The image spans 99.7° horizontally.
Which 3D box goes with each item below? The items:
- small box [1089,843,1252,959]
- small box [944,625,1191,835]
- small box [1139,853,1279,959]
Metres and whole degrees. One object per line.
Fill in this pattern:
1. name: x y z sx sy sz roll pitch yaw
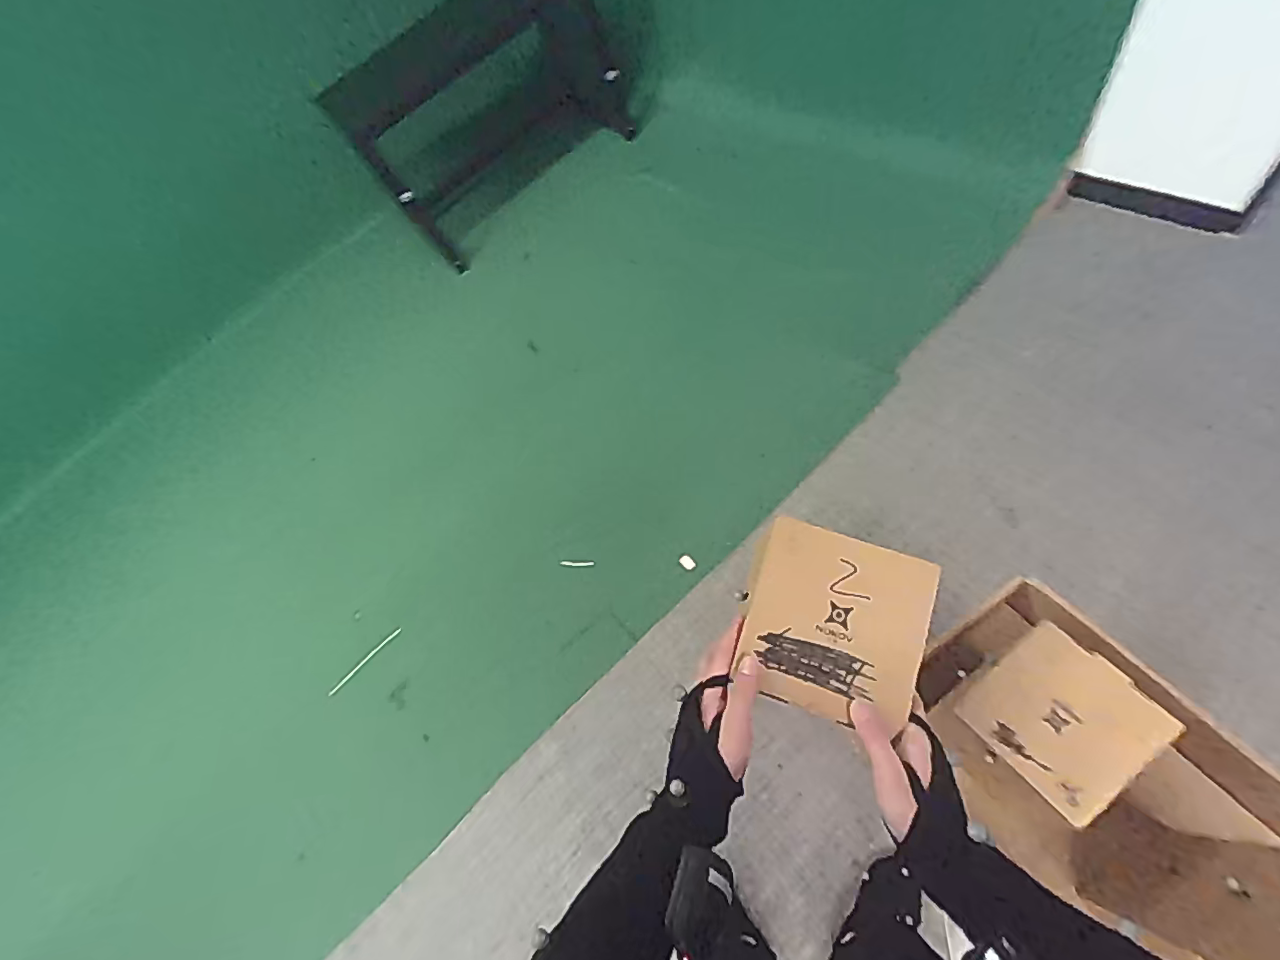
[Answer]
1. small box: 0.737 0.596 0.689 0.179 0.176 0.168 -34 57 0
2. small box: 0.536 0.325 0.712 0.179 0.176 0.168 -39 56 -4
3. small box: 0.686 0.519 0.555 0.179 0.176 0.168 -34 57 -1
